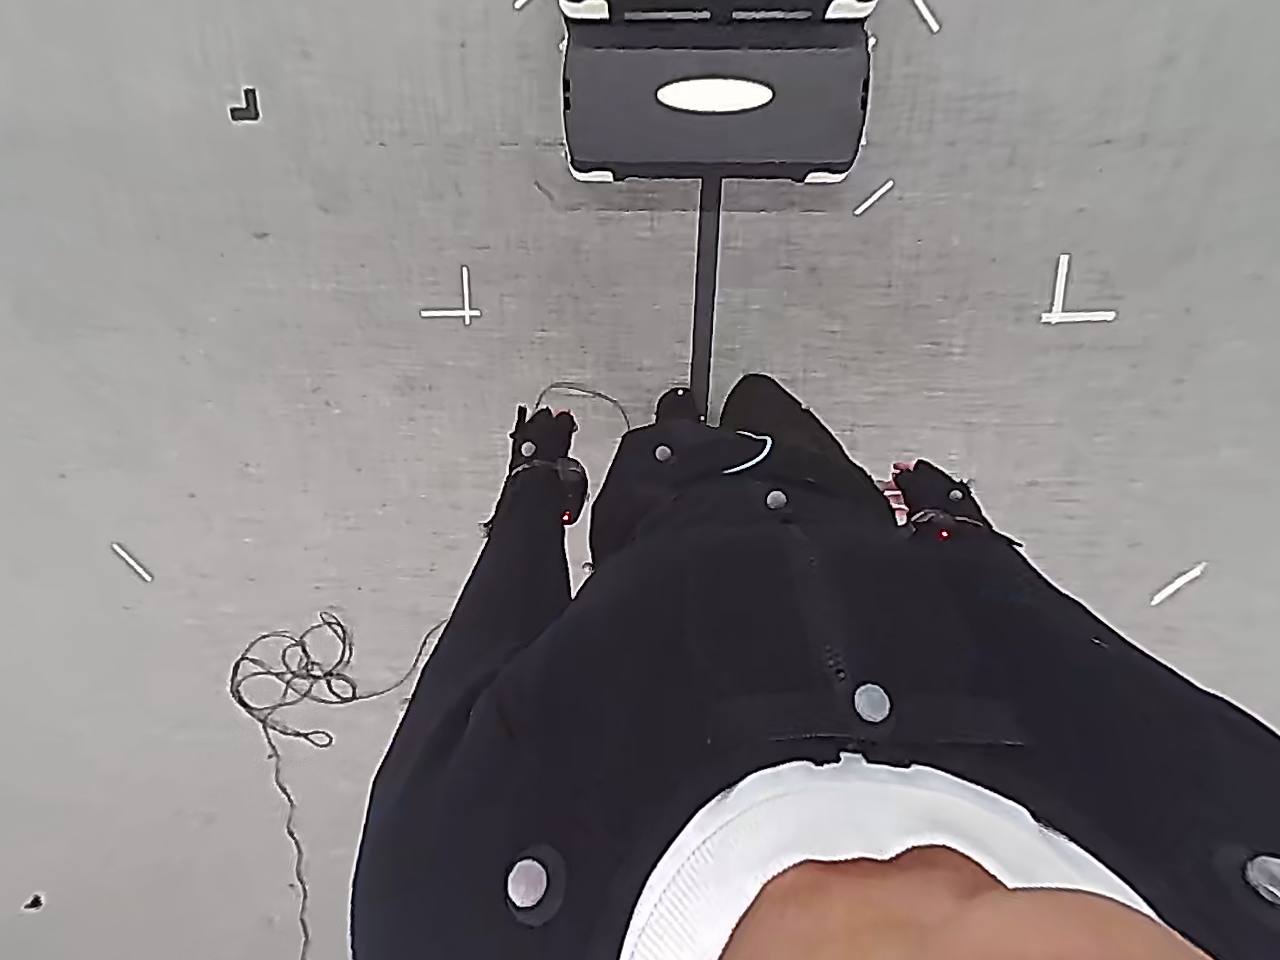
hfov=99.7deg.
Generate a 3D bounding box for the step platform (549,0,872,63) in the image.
[{"bbox_3d":[0.144,-1.081,1.121,0.684,0.204,0.286,0,103,1],"label":"step platform"}]
